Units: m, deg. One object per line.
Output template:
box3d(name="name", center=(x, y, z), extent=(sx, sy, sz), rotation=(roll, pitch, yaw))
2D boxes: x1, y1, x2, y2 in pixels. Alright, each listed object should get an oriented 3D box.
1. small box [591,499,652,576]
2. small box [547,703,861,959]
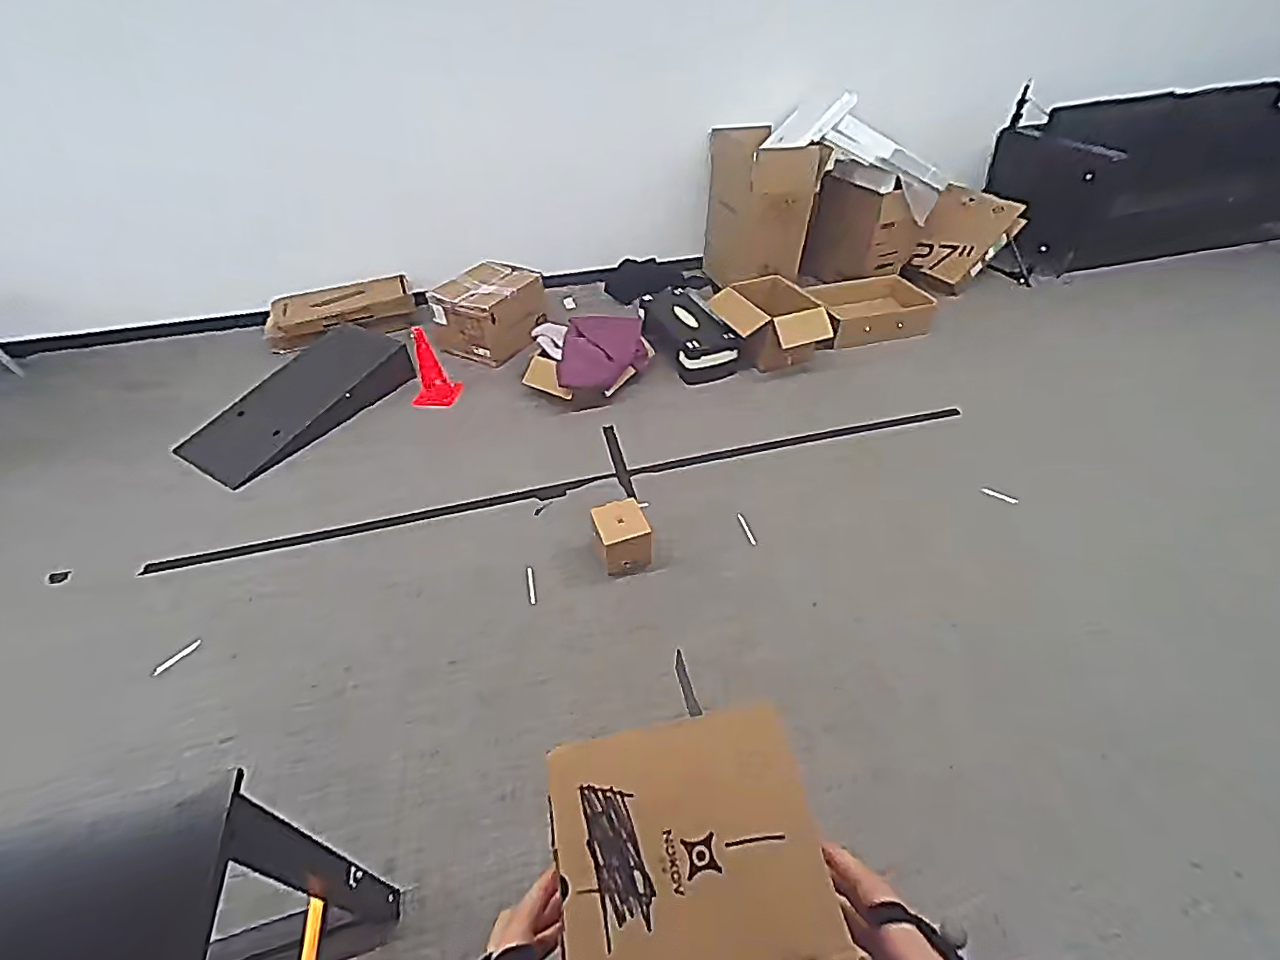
box3d(name="small box", center=(-0.065, 0.200, 1.876), extent=(0.168, 0.176, 0.179), rotation=(-17, 46, -14))
box3d(name="small box", center=(0.035, 0.293, 0.414), extent=(0.179, 0.176, 0.168), rotation=(-10, 54, -6))
